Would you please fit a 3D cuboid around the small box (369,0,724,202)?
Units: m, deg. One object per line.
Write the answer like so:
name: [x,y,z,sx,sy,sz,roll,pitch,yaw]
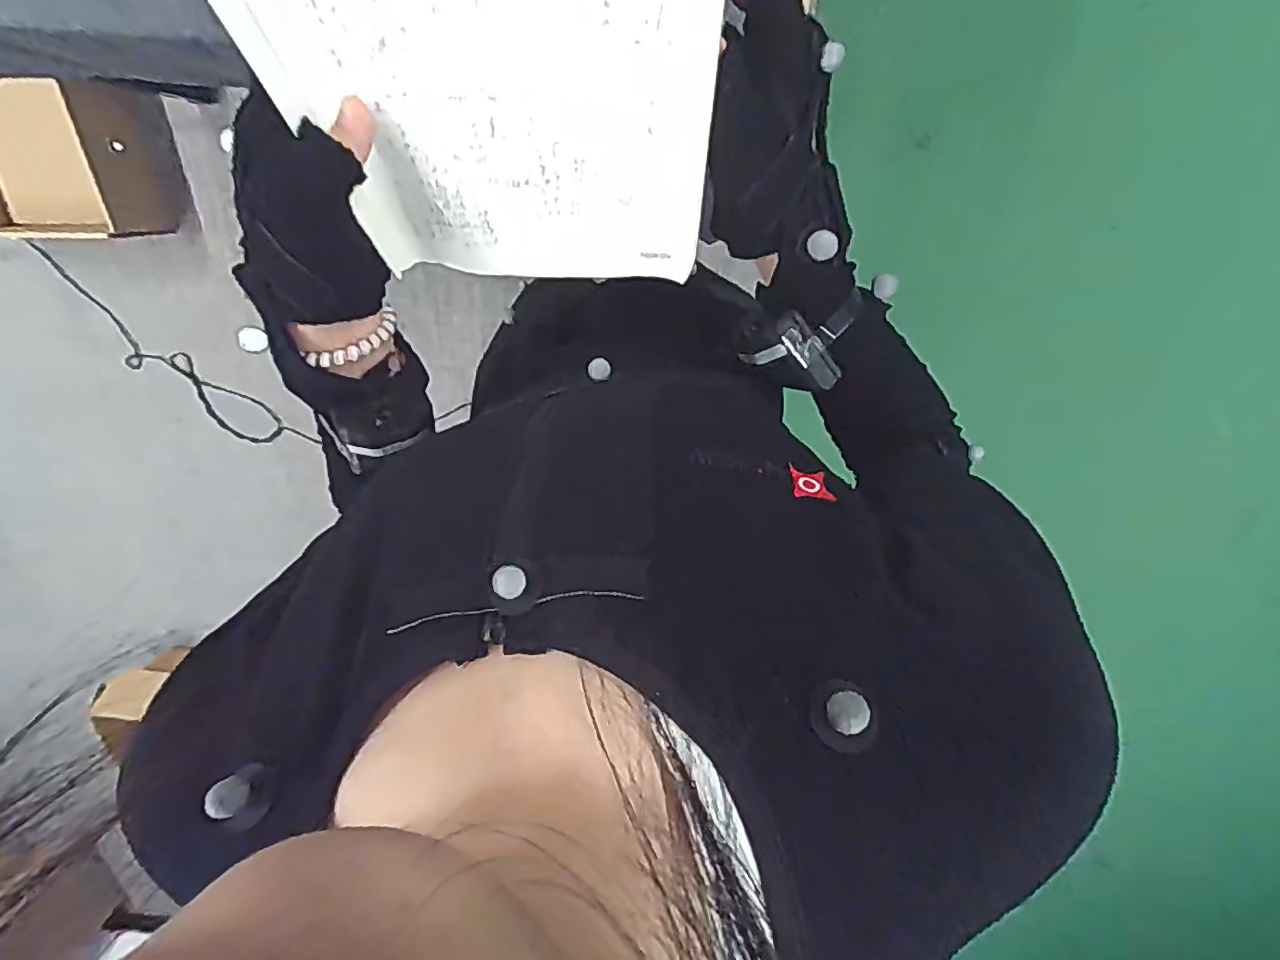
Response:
small box: [-0.045,-0.282,0.309,0.168,0.176,0.179,-6,130,7]
